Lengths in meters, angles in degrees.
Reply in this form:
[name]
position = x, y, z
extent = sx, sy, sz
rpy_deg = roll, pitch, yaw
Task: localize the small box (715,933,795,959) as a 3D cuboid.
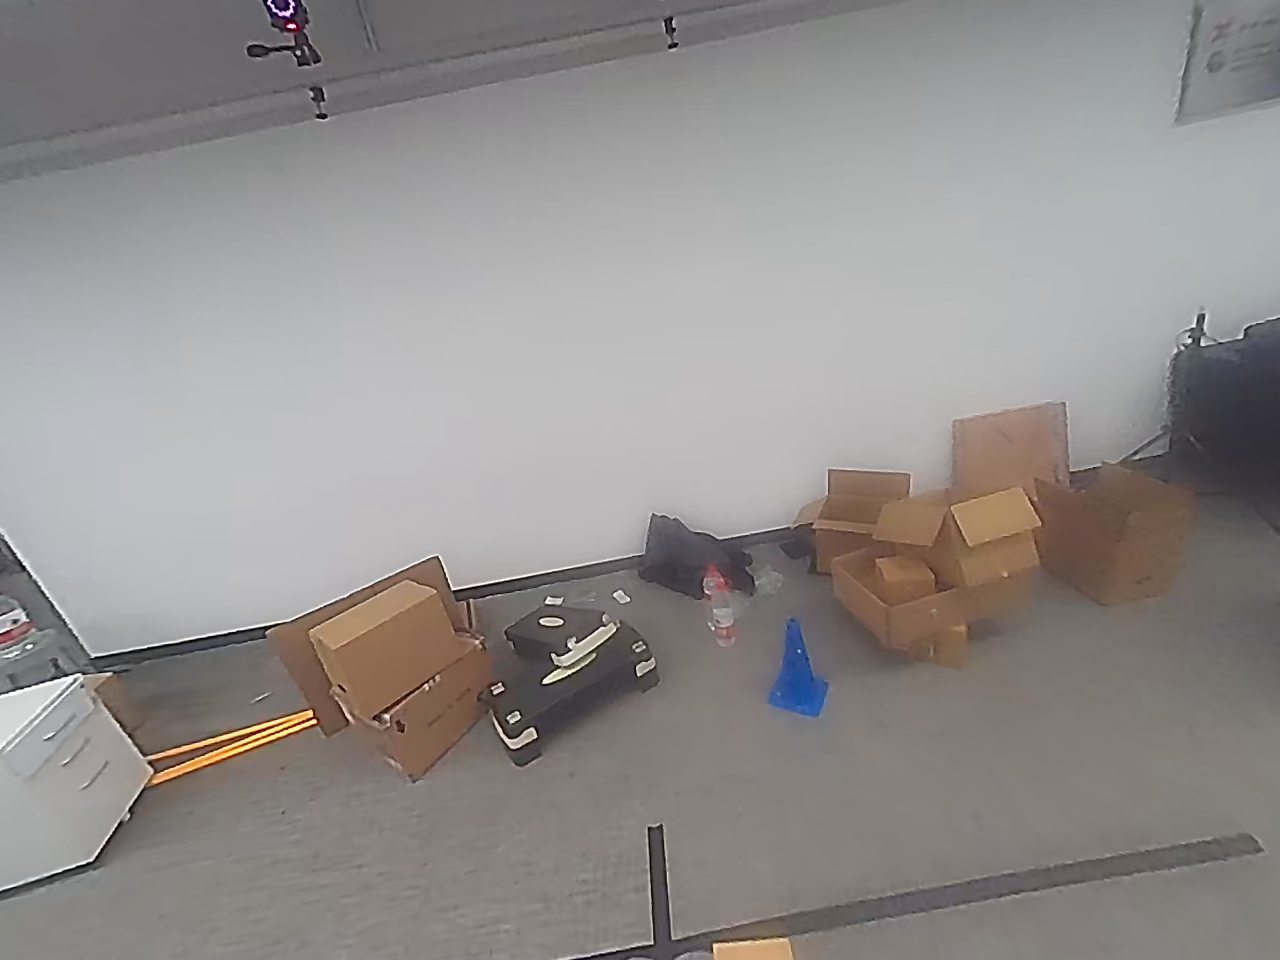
[small box]
position = 0.251, 1.088, 1.119
extent = 0.168, 0.176, 0.179
rpy_deg = -8, 24, 5
